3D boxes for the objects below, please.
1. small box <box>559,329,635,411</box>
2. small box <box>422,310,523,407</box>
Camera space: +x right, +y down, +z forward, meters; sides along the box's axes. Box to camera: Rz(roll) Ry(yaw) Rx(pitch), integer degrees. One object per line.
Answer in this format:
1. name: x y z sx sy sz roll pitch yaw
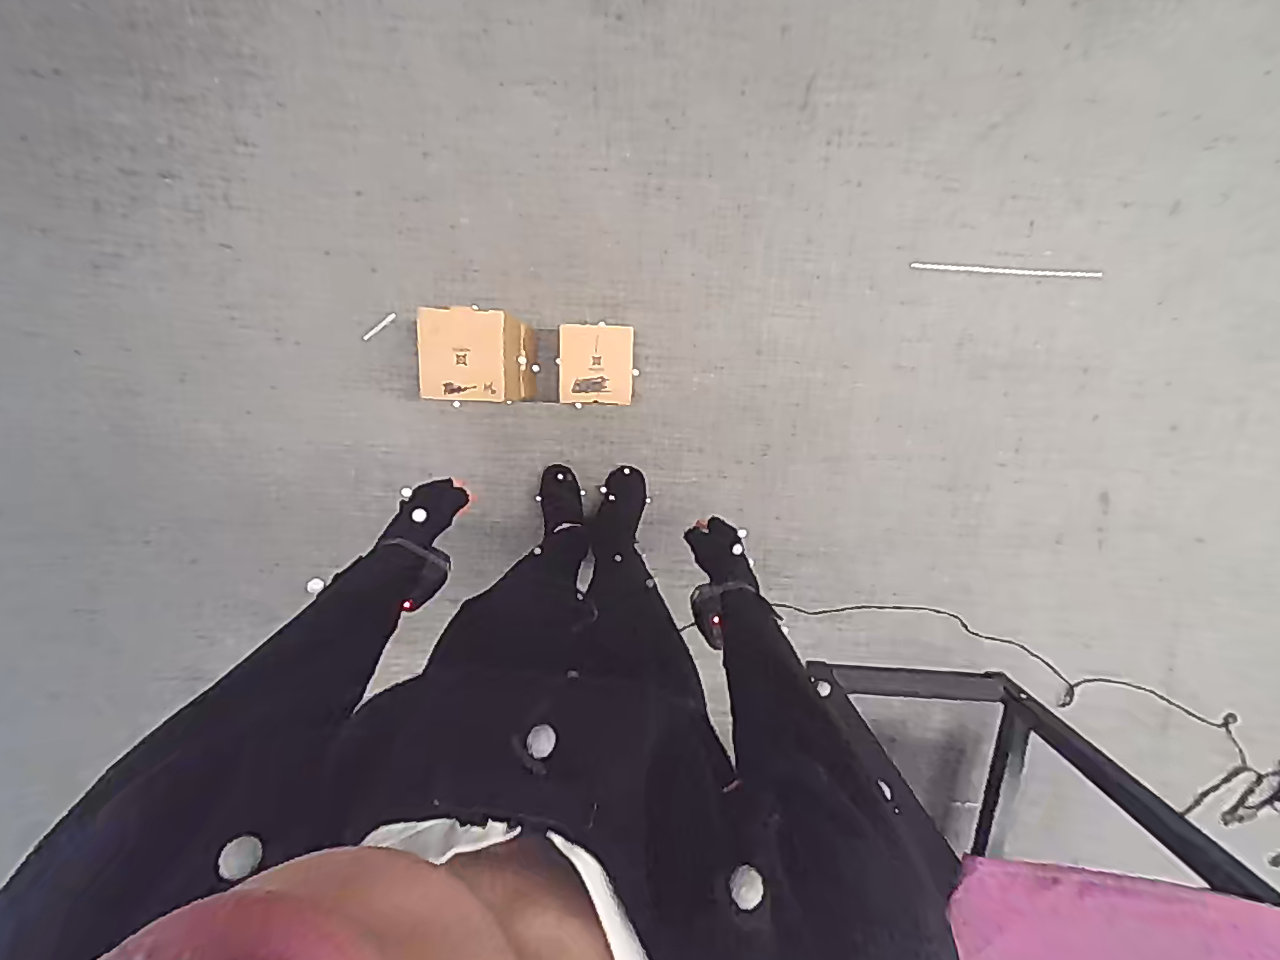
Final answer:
1. small box: -0.098 -0.258 1.288 0.168 0.176 0.179 2 99 -2
2. small box: -0.340 -0.245 1.121 0.168 0.176 0.179 3 99 -2
